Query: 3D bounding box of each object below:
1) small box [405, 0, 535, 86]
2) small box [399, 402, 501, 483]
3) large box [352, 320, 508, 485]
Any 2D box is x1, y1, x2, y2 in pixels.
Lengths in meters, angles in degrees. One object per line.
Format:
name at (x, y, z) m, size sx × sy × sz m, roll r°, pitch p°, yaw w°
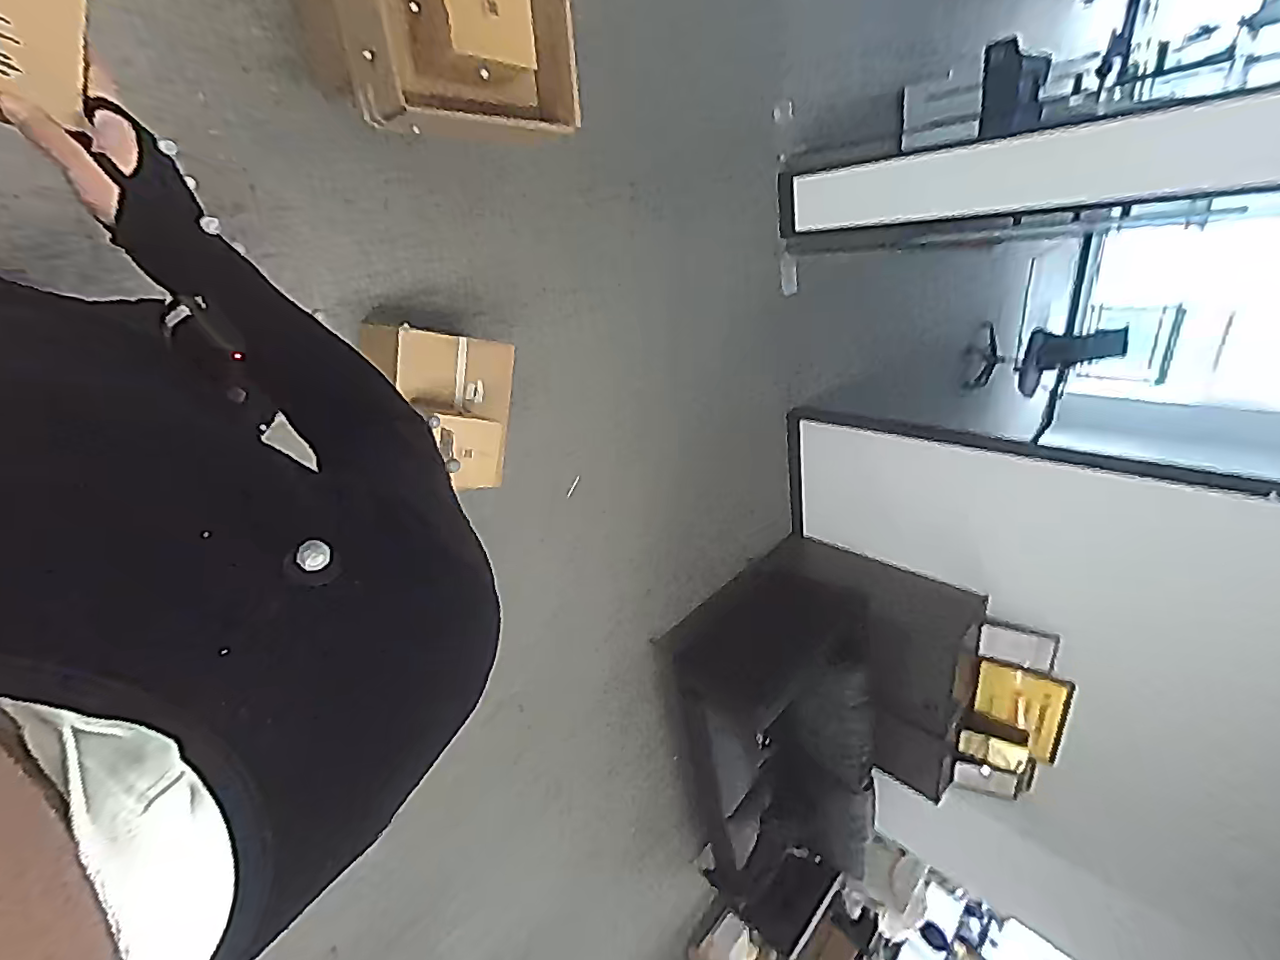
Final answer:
small box at (-0.326, -0.880, 1.035) m, size 0.179 × 0.176 × 0.168 m, roll -21°, pitch 118°, yaw -38°
small box at (-0.470, -0.094, 1.325) m, size 0.179 × 0.176 × 0.168 m, roll 3°, pitch 102°, yaw -44°
large box at (-0.596, -0.218, 1.514) m, size 0.320 × 0.320 × 0.408 m, roll -3°, pitch 105°, yaw -45°
